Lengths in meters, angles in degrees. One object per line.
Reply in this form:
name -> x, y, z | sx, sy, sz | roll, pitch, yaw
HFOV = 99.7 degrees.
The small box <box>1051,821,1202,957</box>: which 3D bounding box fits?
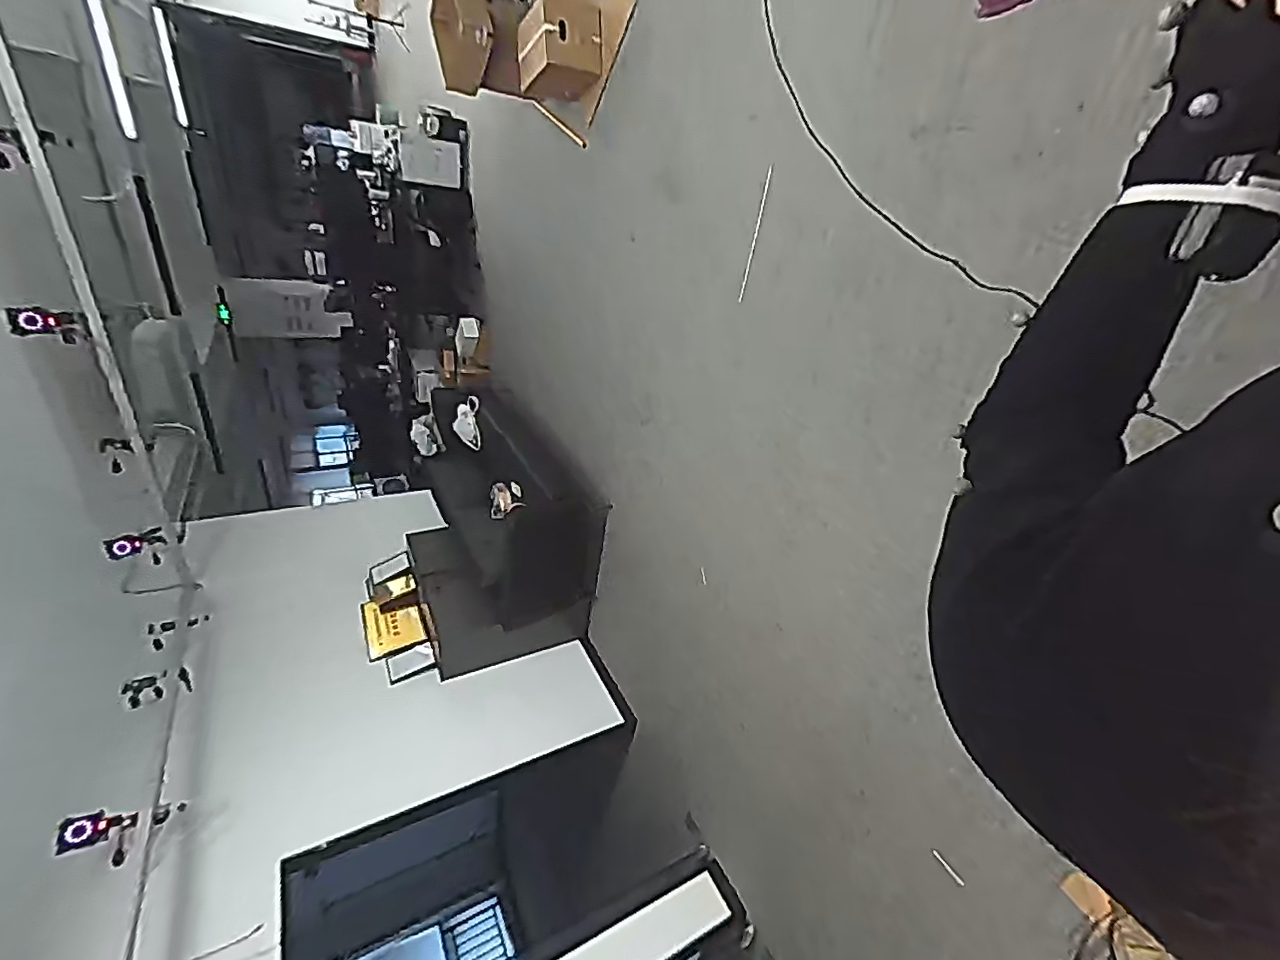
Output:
small box -> 1.117, 0.927, 1.246 | 0.179, 0.176, 0.168 | 45, 136, 47
